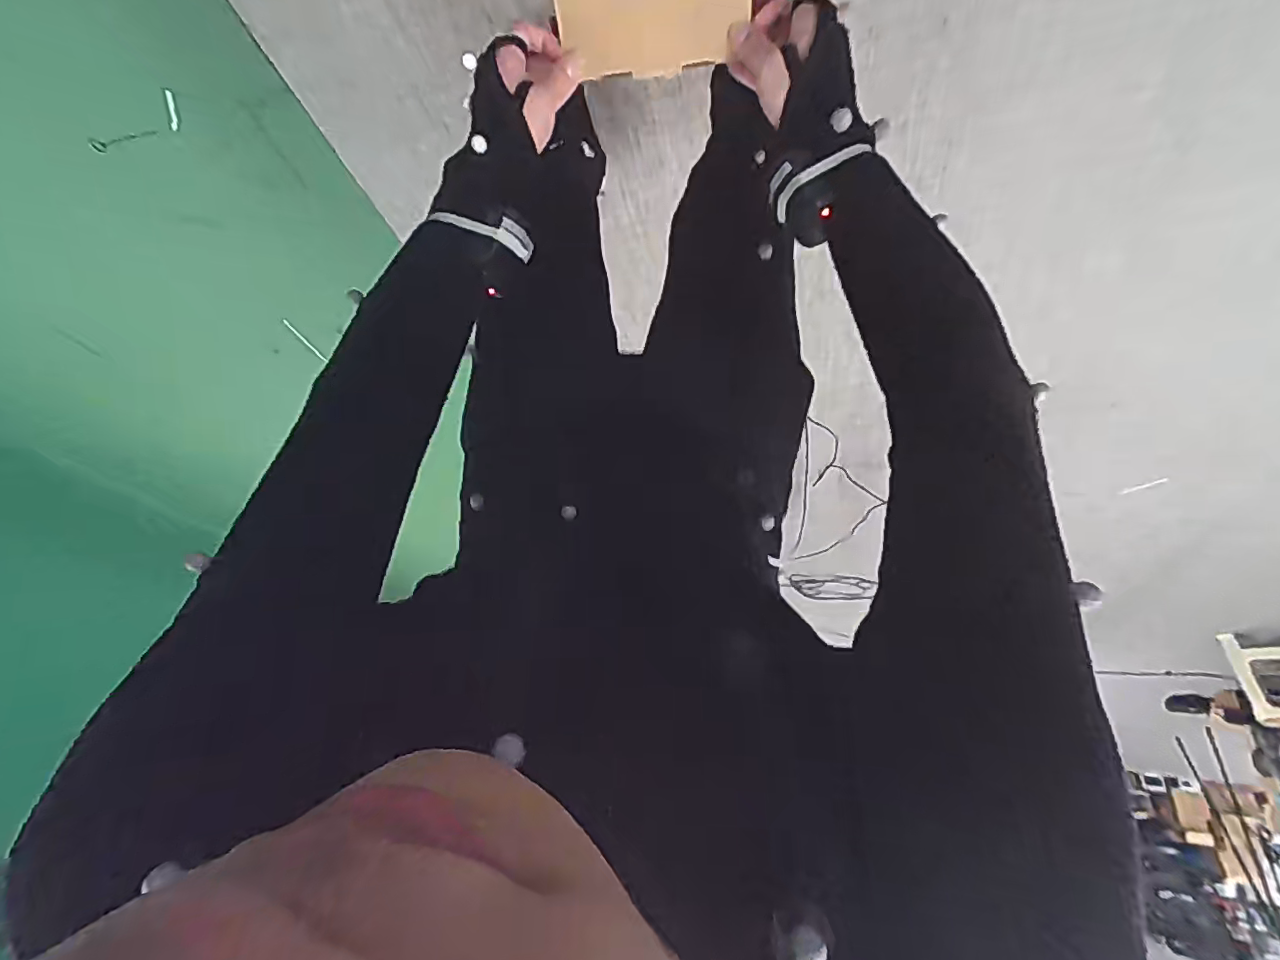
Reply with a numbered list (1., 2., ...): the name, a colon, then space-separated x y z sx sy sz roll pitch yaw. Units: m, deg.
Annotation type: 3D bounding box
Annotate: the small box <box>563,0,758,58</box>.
1. small box: 0.022 -0.497 0.469 0.168 0.176 0.179 2 135 10
